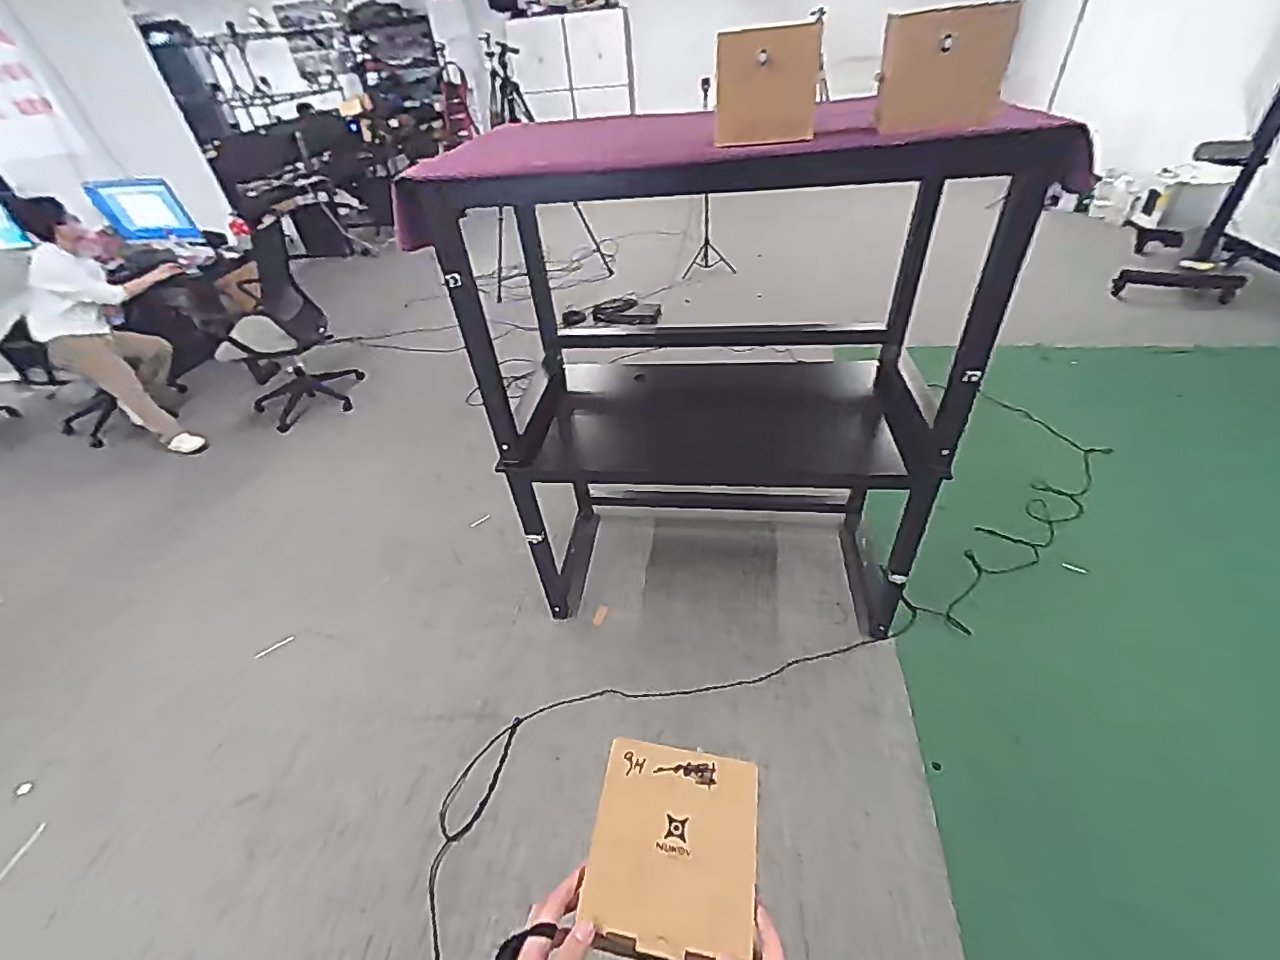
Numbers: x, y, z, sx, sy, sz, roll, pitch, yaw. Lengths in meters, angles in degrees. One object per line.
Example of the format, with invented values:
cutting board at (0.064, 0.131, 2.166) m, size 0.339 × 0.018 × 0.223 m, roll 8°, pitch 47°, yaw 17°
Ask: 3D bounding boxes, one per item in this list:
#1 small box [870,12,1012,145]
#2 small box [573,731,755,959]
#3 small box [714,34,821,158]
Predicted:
small box at (0.514, -0.705, 0.956) m, size 0.179 × 0.176 × 0.168 m, roll 3°, pitch 41°, yaw 13°
small box at (0.033, 0.414, 0.605) m, size 0.168 × 0.176 × 0.179 m, roll 7°, pitch 45°, yaw 7°
small box at (0.231, -0.715, 1.009) m, size 0.179 × 0.176 × 0.168 m, roll 1°, pitch 38°, yaw 10°
